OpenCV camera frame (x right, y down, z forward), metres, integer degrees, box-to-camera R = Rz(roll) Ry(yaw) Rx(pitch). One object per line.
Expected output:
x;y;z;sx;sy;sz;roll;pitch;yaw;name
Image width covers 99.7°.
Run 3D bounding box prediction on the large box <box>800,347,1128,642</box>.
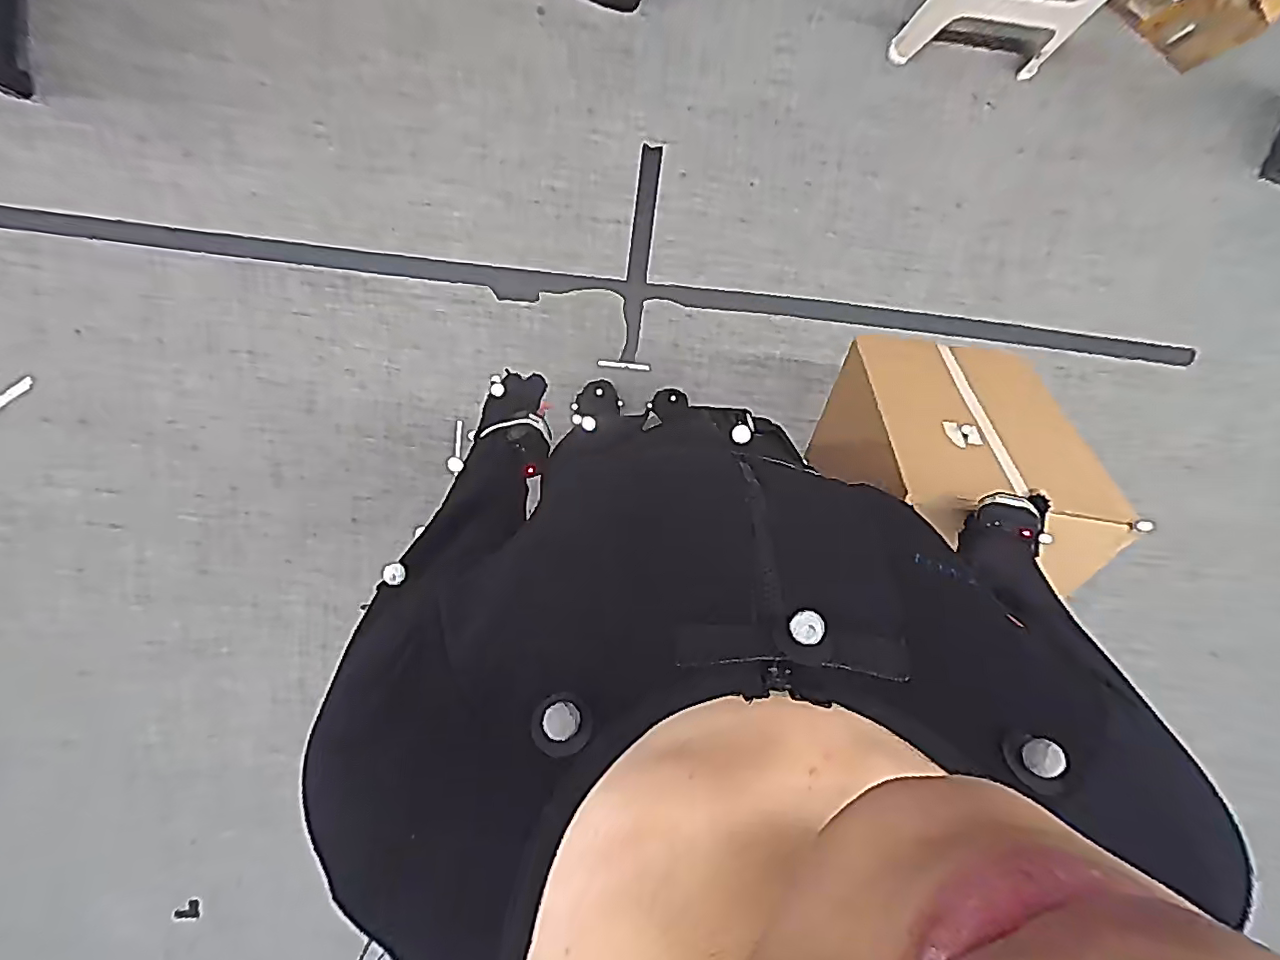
0.504;0.019;0.965;0.320;0.408;0.320;8;136;0;large box
